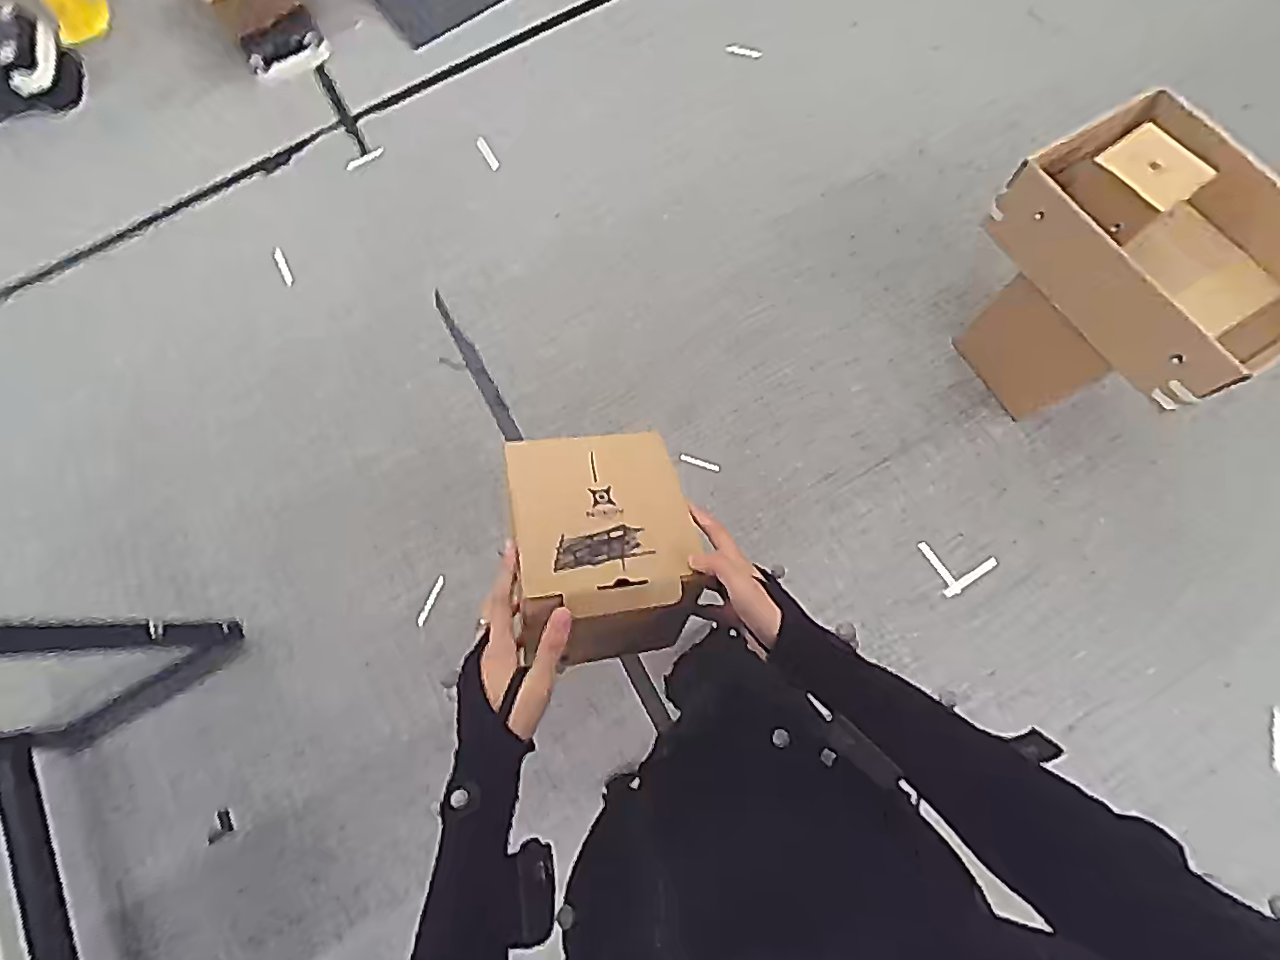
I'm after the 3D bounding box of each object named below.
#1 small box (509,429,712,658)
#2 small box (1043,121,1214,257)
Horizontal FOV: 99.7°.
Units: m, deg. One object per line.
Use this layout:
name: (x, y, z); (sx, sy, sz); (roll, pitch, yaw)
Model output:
small box: (-0.044, 0.070, 0.563); (0.168, 0.176, 0.179); (-5, 52, -16)
small box: (1.049, -0.619, 1.178); (0.168, 0.176, 0.179); (-35, 75, -7)
